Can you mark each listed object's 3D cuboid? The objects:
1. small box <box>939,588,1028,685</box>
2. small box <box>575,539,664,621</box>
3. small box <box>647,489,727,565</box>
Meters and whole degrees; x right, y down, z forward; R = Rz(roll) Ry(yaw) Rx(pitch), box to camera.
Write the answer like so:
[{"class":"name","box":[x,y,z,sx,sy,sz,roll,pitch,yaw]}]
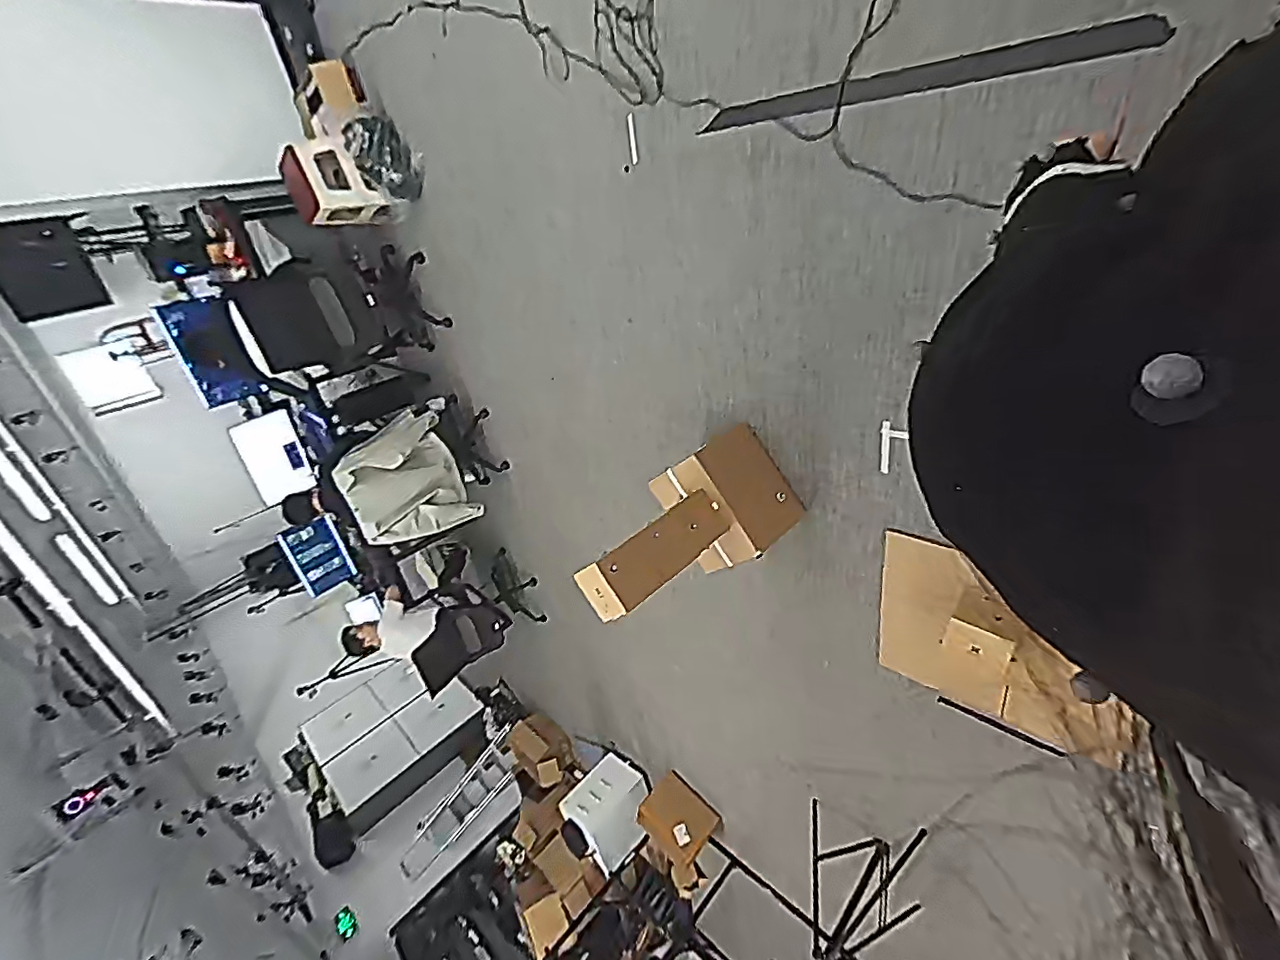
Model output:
[{"class":"small box","box":[1.000,0.447,1.571,0.168,0.176,0.179,21,131,36]},{"class":"small box","box":[-0.062,0.298,1.640,0.179,0.176,0.168,56,144,3]},{"class":"small box","box":[0.163,0.158,1.836,0.179,0.176,0.168,56,143,4]}]
